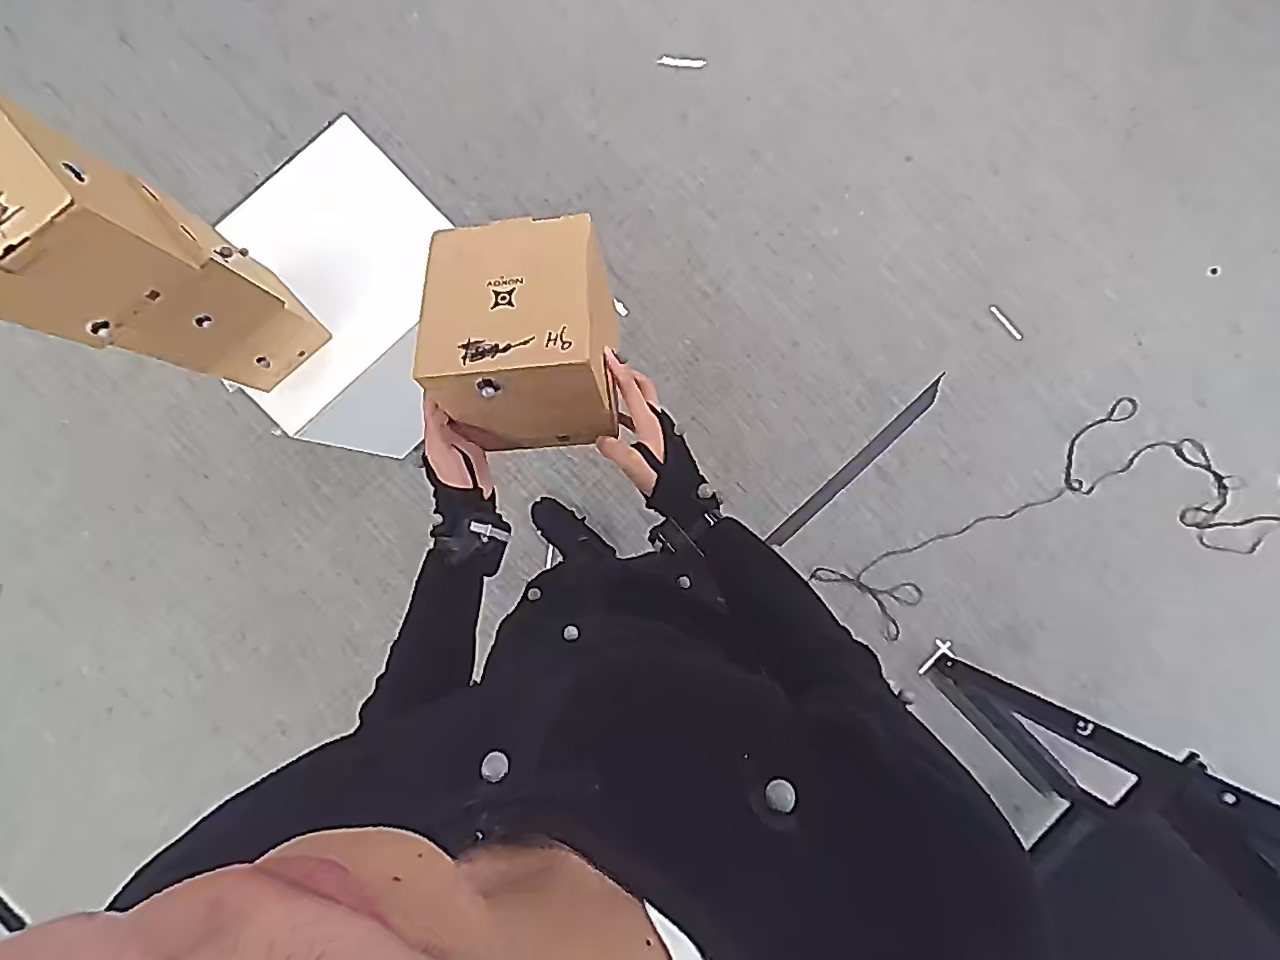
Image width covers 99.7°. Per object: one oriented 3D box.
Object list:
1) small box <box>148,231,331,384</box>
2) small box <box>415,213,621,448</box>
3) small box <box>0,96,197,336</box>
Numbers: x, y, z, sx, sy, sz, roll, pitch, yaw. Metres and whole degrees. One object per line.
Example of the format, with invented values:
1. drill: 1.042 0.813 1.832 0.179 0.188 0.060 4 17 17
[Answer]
1. small box: -0.693 -0.287 0.950 0.168 0.176 0.179 -43 90 -4
2. small box: -0.115 -0.151 0.584 0.168 0.176 0.179 -4 69 6
3. small box: -0.679 -0.288 0.621 0.168 0.176 0.179 -40 89 -3
